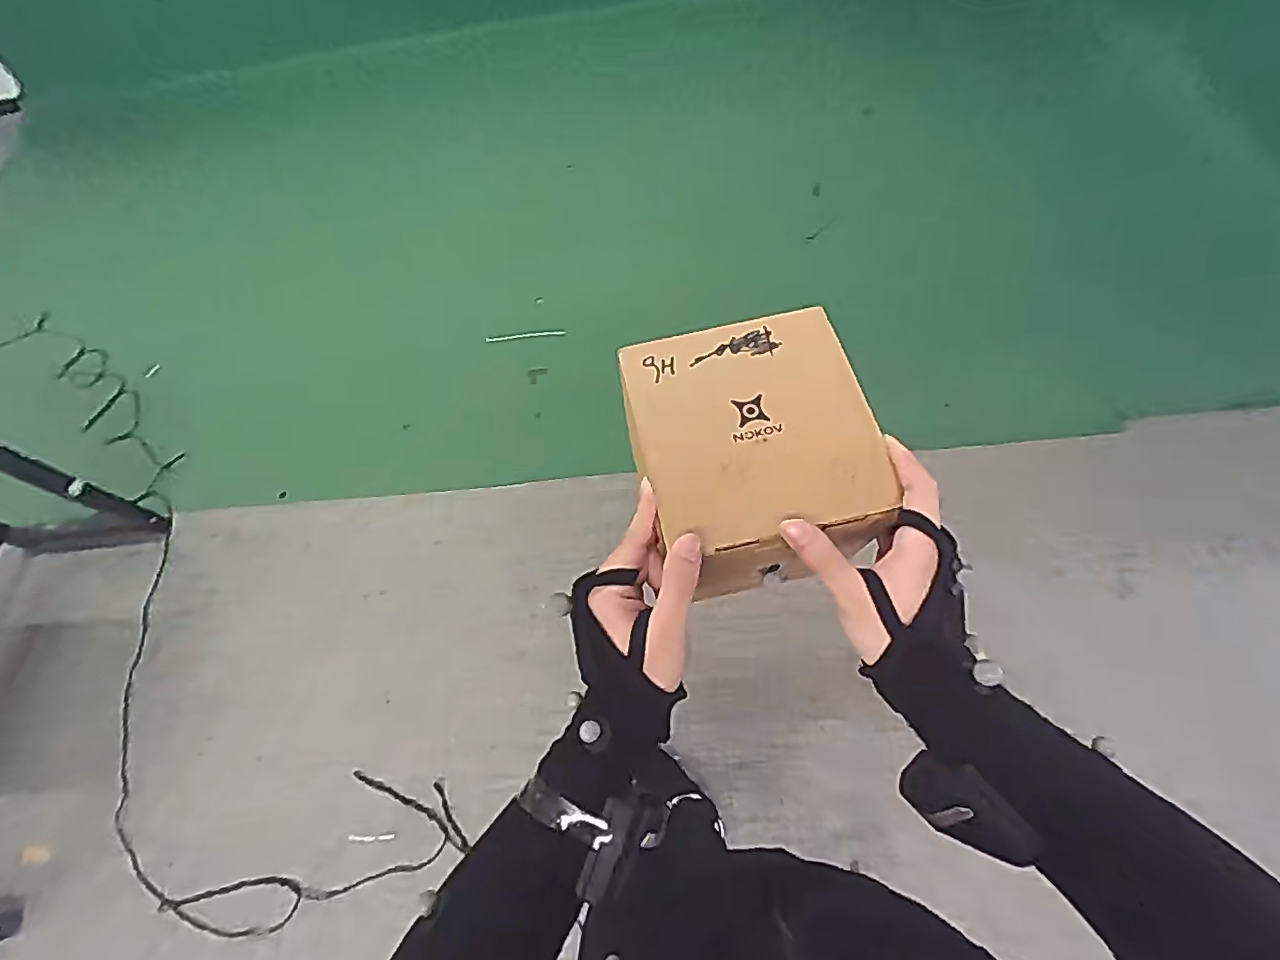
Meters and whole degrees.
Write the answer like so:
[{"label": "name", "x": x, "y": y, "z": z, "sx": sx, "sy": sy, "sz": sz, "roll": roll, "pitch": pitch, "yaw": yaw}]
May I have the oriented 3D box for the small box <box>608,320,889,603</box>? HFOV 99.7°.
[{"label": "small box", "x": 0.076, "y": -0.001, "z": 0.463, "sx": 0.168, "sy": 0.176, "sz": 0.179, "roll": -13, "pitch": 67, "yaw": -2}]
